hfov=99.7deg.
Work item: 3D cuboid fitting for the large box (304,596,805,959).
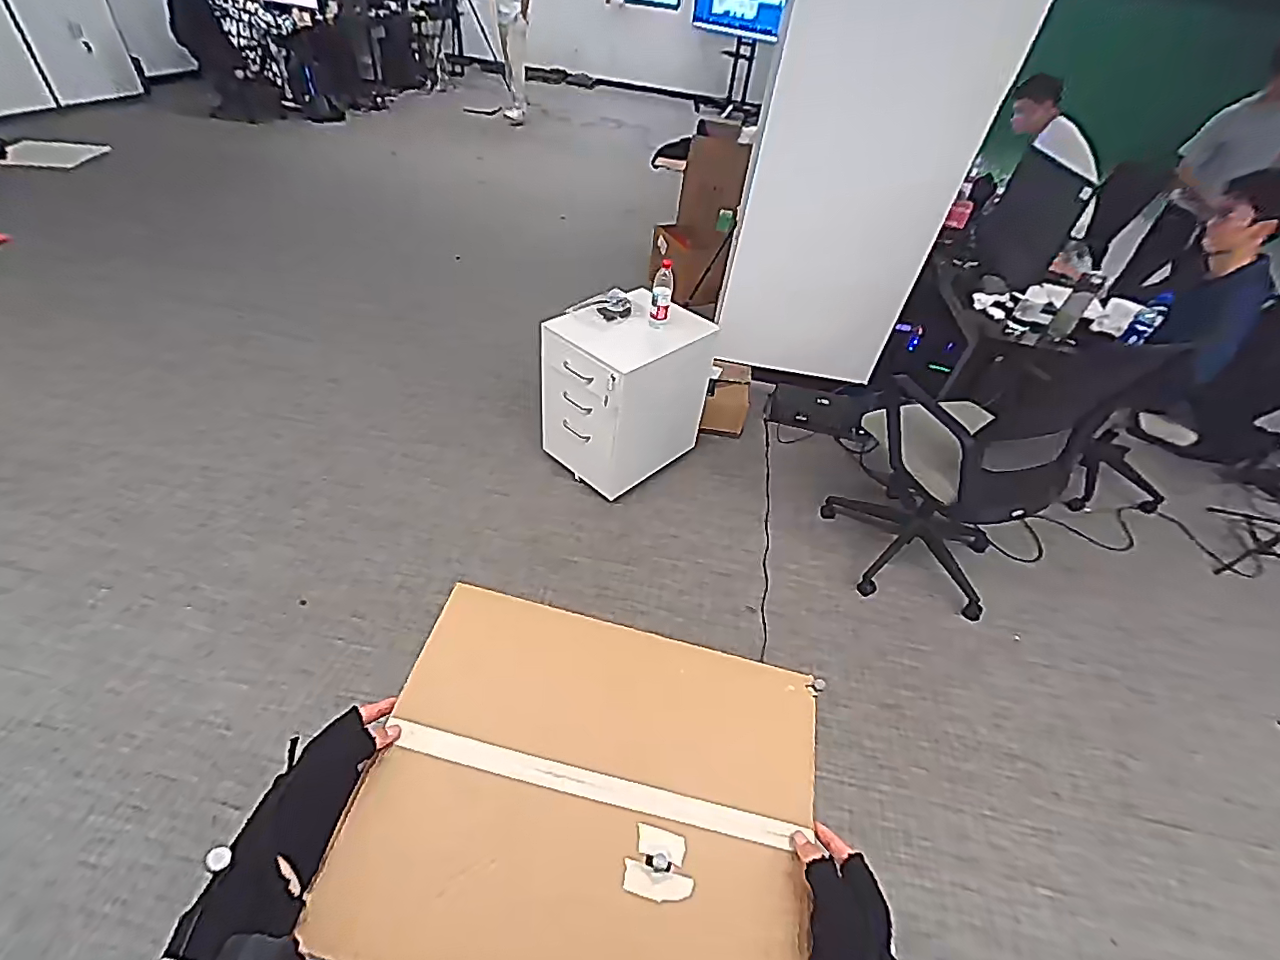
[{"bbox_3d":[-0.063,0.381,0.621,0.408,0.320,0.320,15,51,1],"label":"large box"}]
